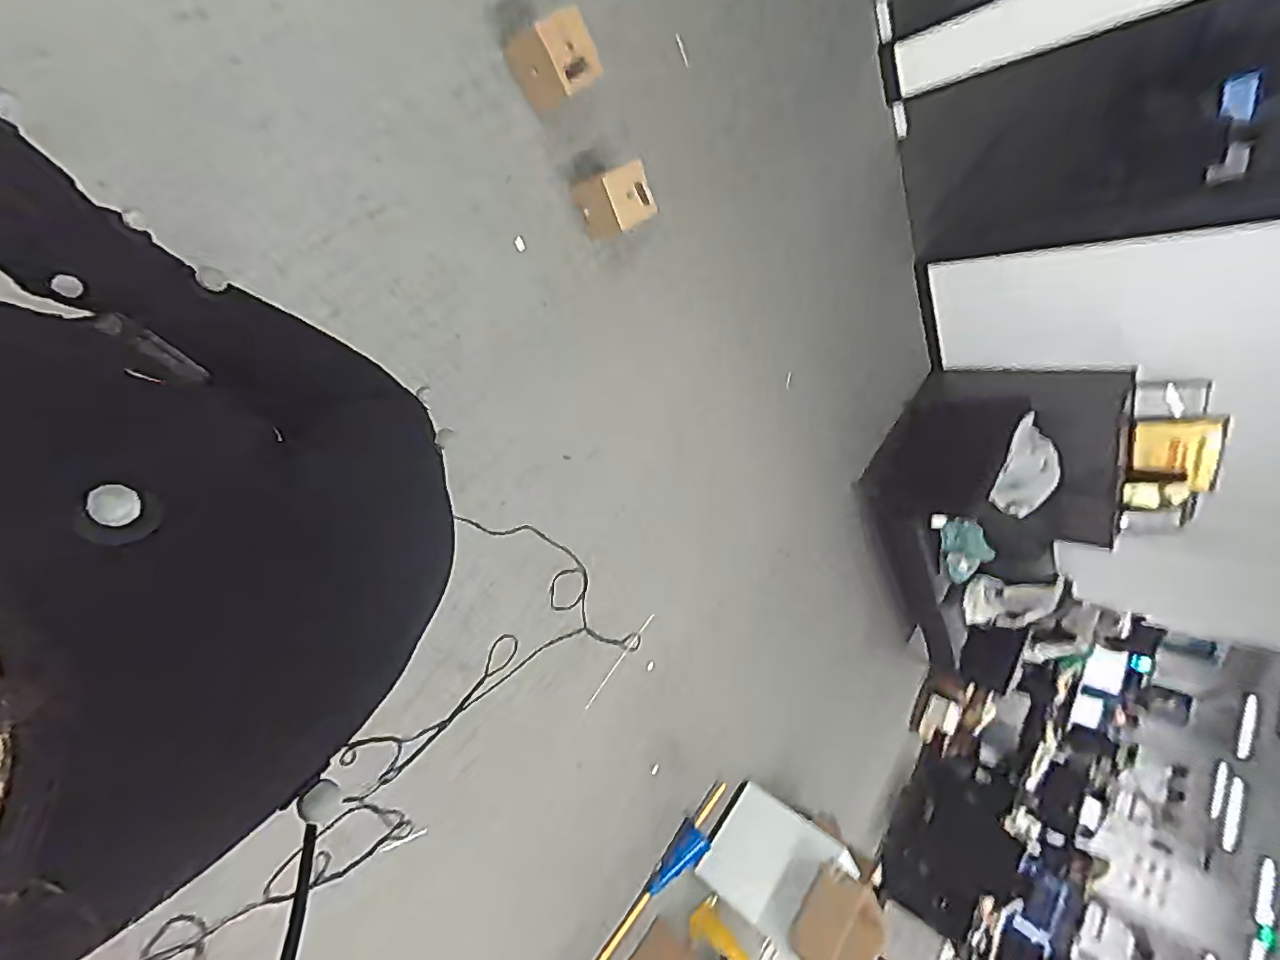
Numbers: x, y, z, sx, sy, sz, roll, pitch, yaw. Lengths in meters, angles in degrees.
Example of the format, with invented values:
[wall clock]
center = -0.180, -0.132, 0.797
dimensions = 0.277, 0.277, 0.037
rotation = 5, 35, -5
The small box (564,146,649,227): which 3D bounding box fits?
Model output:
[small box]
center = -0.108, -0.924, 1.710
dimensions = 0.179, 0.176, 0.168
rotation = -44, 127, -27
